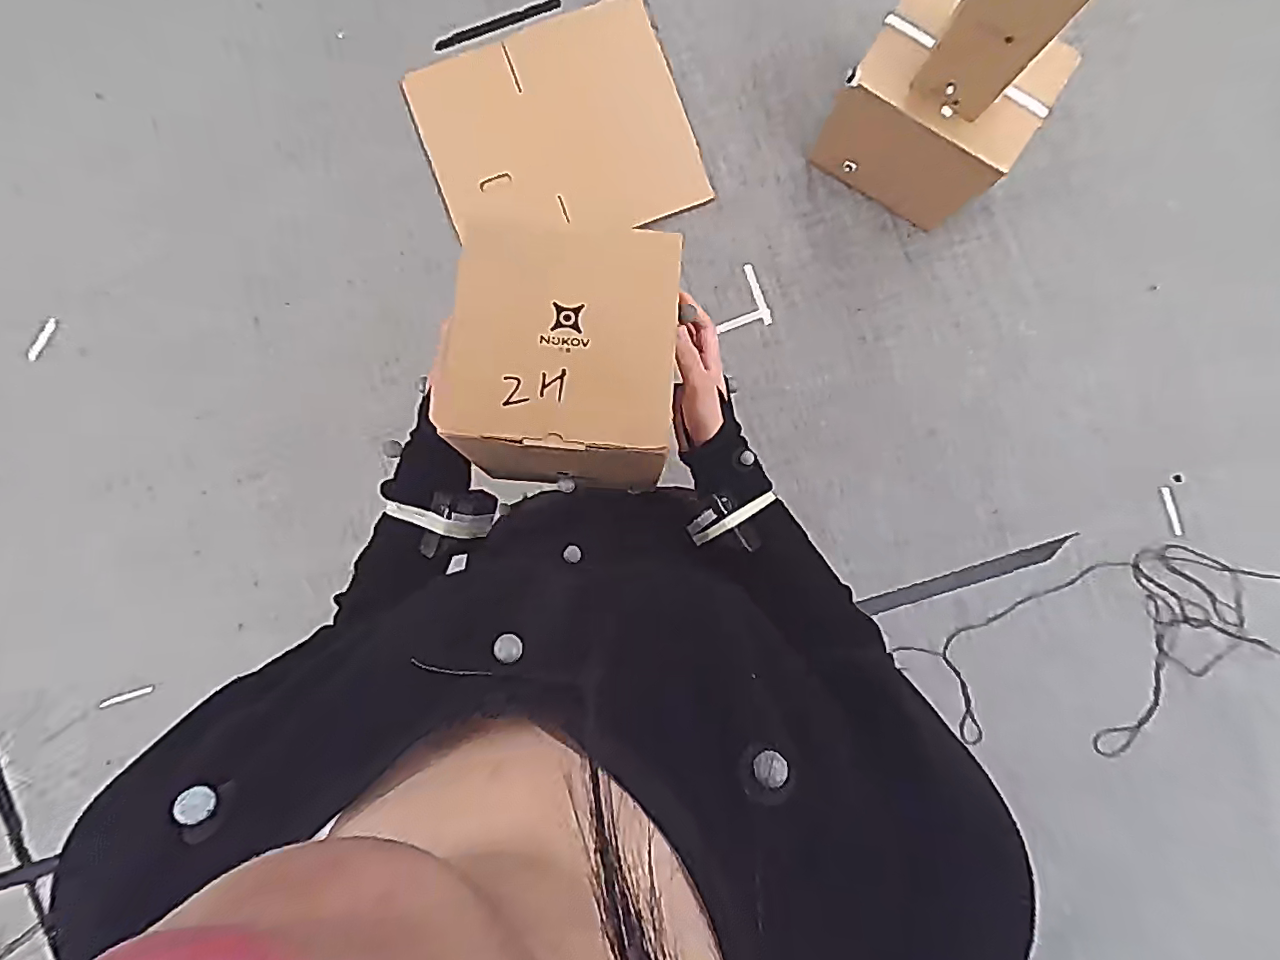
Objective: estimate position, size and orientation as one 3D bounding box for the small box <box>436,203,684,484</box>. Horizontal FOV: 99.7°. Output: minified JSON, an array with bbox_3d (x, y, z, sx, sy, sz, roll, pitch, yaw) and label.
[{"bbox_3d":[-0.057,-0.102,0.468,0.168,0.176,0.179,4,80,-1],"label":"small box"}]

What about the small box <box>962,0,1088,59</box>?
[{"bbox_3d":[0.699,-0.892,0.924,0.168,0.176,0.179,31,90,0],"label":"small box"}]

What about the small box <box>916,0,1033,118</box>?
[{"bbox_3d":[0.698,-0.891,1.088,0.168,0.176,0.179,30,91,0],"label":"small box"}]
